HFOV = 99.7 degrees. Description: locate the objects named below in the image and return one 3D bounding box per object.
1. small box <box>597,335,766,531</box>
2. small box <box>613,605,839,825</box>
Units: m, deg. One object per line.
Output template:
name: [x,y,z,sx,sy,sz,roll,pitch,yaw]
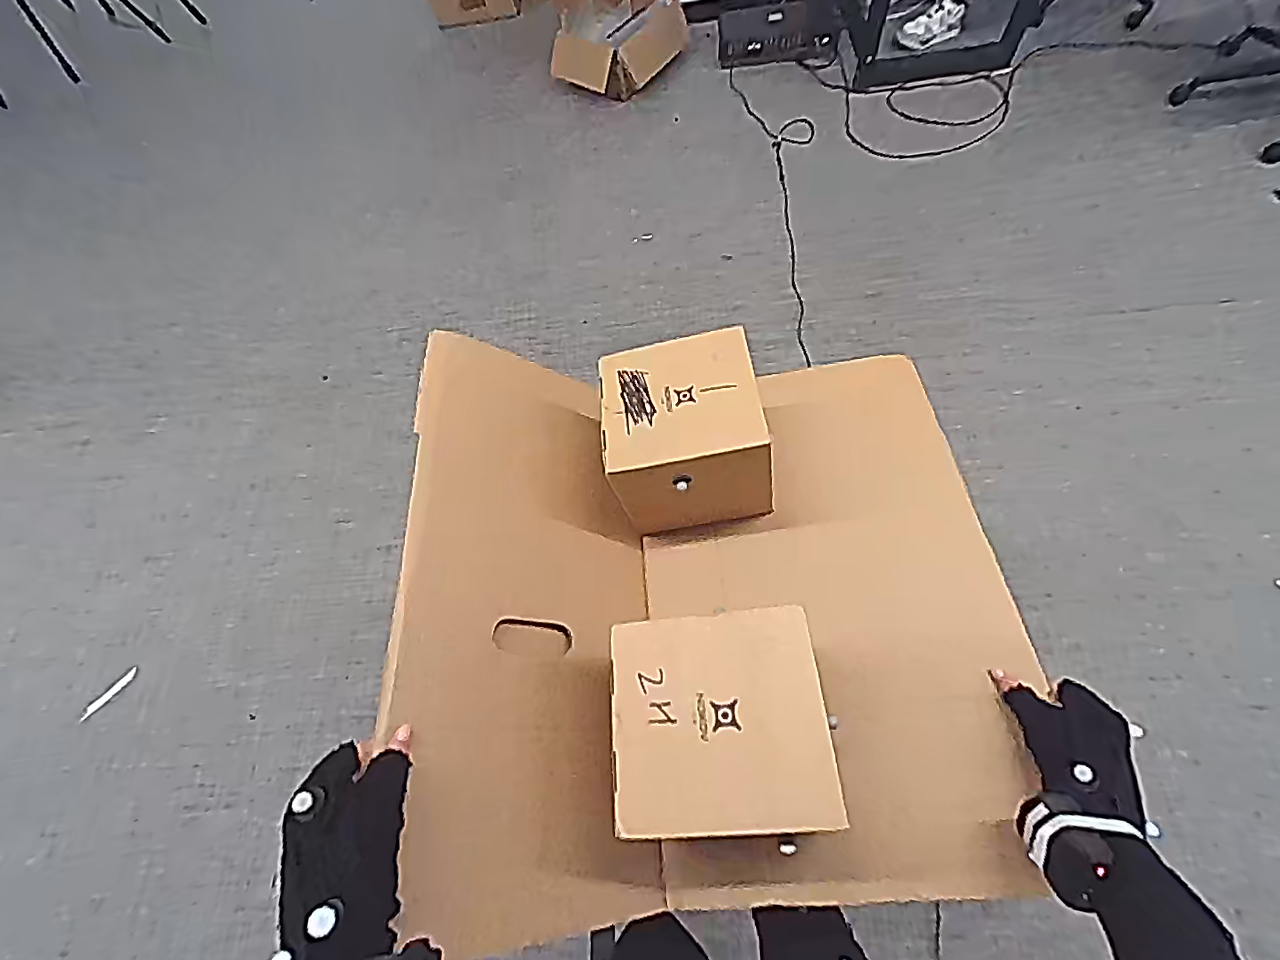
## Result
small box: [0.056,-0.049,0.682,0.179,0.176,0.168,-11,60,8]
small box: [0.080,0.229,0.525,0.179,0.176,0.168,-9,60,11]
